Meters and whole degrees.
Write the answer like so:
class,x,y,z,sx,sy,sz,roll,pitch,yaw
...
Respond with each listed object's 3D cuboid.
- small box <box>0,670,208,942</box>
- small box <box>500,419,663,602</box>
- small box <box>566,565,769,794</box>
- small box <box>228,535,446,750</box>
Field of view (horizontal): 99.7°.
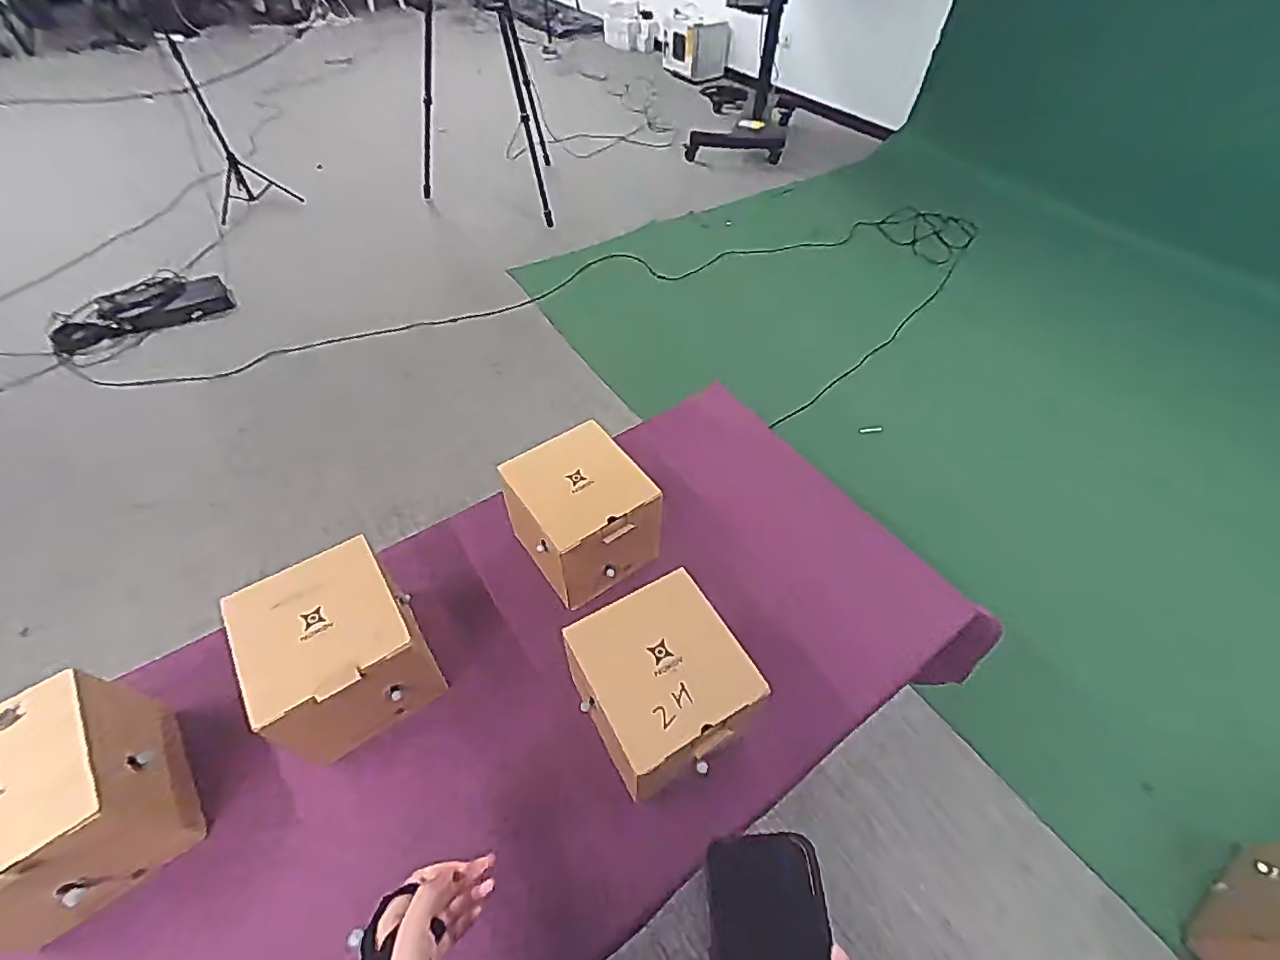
class,x,y,z,sx,sy,sz,roll,pitch,yaw
small box,-0.603,0.340,0.565,0.168,0.176,0.179,-32,60,-25
small box,-0.086,0.047,0.810,0.168,0.176,0.179,-30,59,-23
small box,0.025,0.242,0.653,0.168,0.176,0.179,-24,55,-18
small box,-0.365,0.209,0.676,0.168,0.176,0.179,-27,57,-22
